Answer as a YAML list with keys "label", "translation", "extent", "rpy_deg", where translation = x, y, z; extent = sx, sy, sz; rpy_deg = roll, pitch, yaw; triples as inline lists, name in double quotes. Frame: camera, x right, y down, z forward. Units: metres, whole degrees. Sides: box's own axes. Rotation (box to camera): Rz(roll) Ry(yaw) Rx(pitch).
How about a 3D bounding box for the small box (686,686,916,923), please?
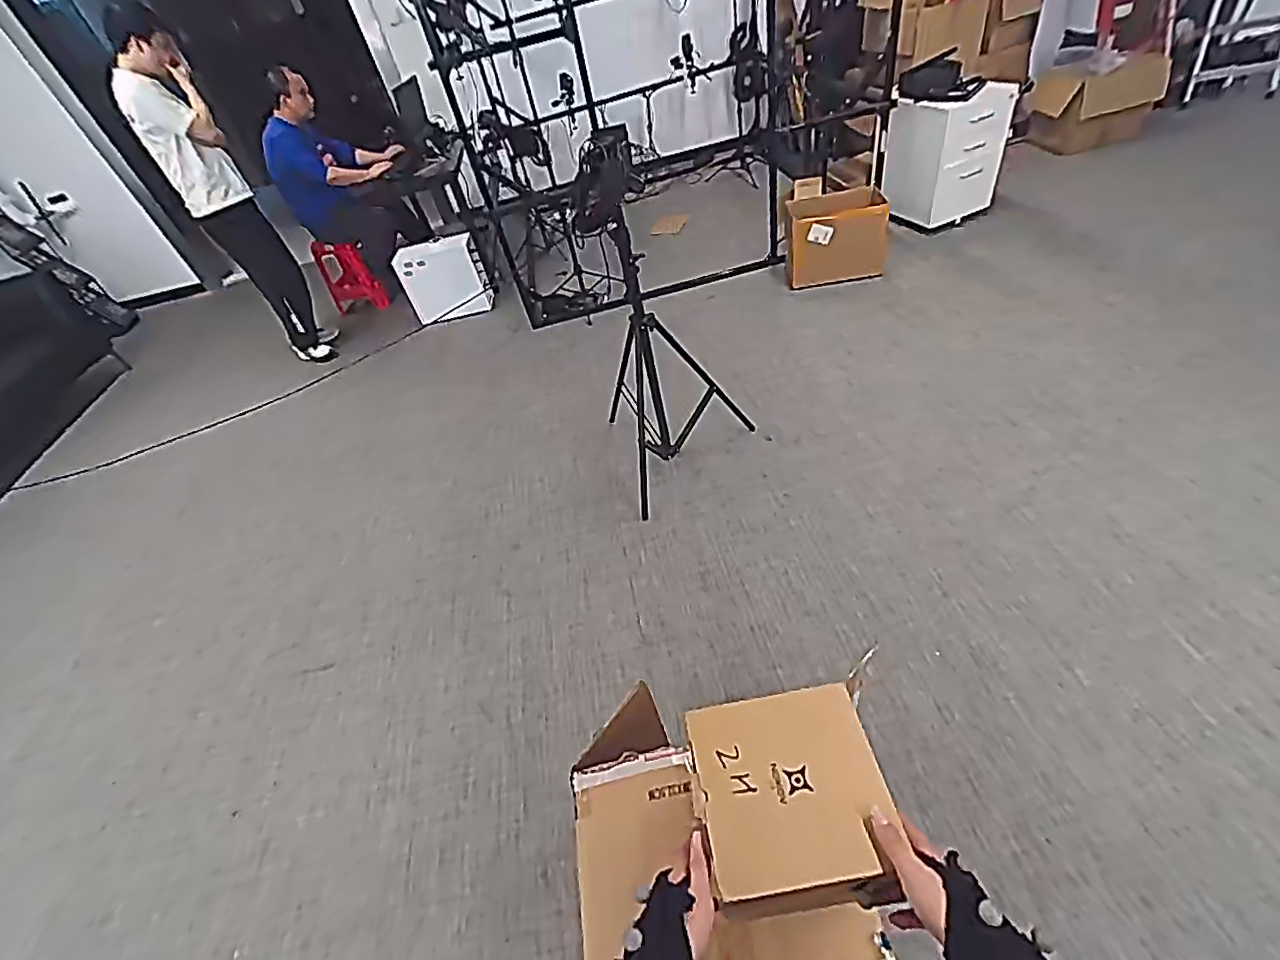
- label: "small box"
  translation: [0.151, 0.343, 0.569]
  extent: [0.179, 0.176, 0.168]
  rpy_deg: [-11, 45, 1]
